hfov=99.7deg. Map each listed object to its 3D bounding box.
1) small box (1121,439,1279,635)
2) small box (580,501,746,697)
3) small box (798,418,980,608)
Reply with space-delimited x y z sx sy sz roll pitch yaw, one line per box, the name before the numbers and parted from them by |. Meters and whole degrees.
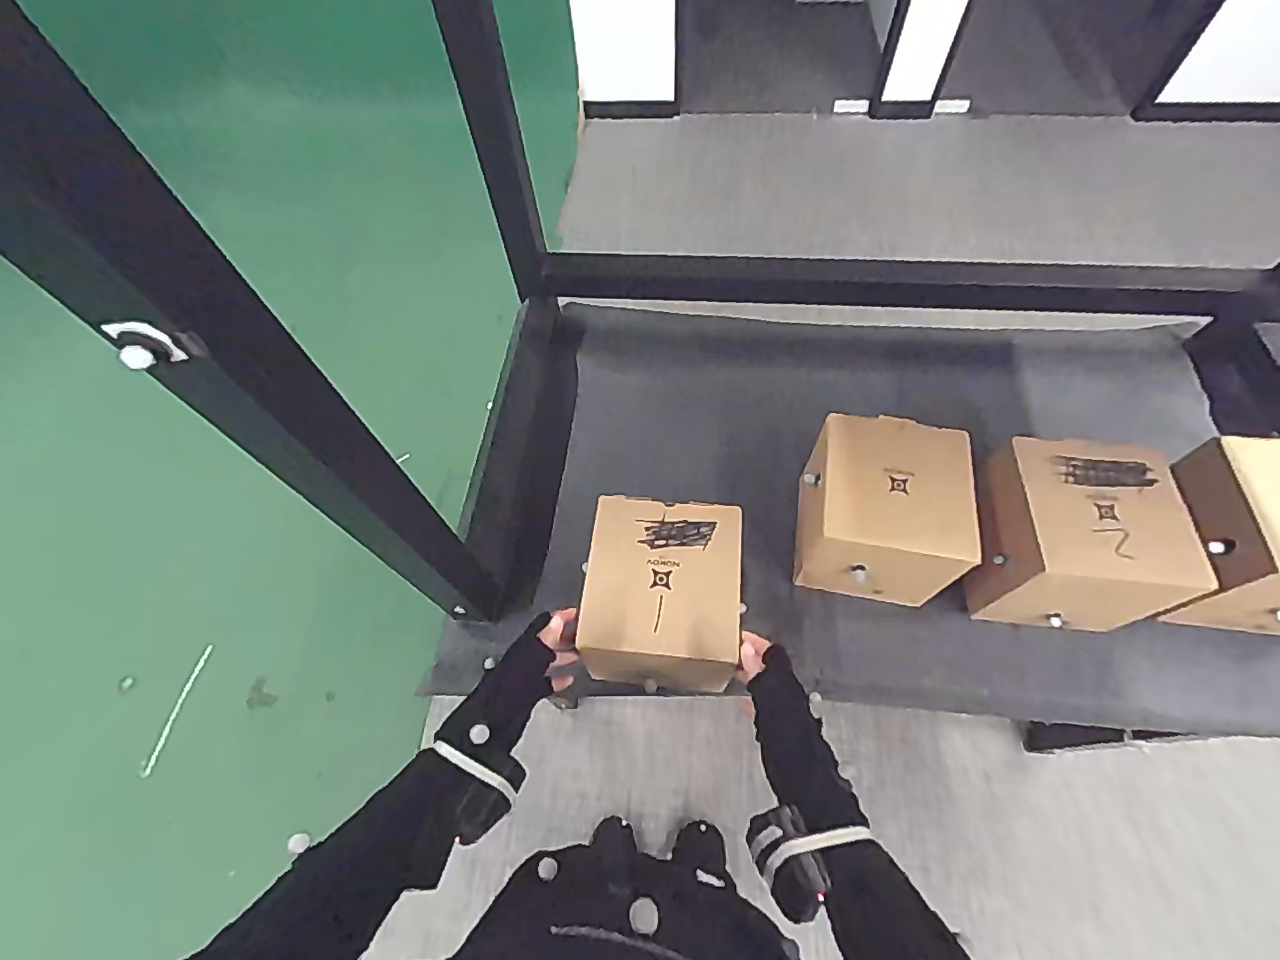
small box | 0.742 0.075 0.649 0.168 0.176 0.179 6 59 7
small box | 0.032 0.146 0.646 0.168 0.176 0.179 4 59 6
small box | 0.304 0.048 0.693 0.168 0.176 0.179 9 60 8
